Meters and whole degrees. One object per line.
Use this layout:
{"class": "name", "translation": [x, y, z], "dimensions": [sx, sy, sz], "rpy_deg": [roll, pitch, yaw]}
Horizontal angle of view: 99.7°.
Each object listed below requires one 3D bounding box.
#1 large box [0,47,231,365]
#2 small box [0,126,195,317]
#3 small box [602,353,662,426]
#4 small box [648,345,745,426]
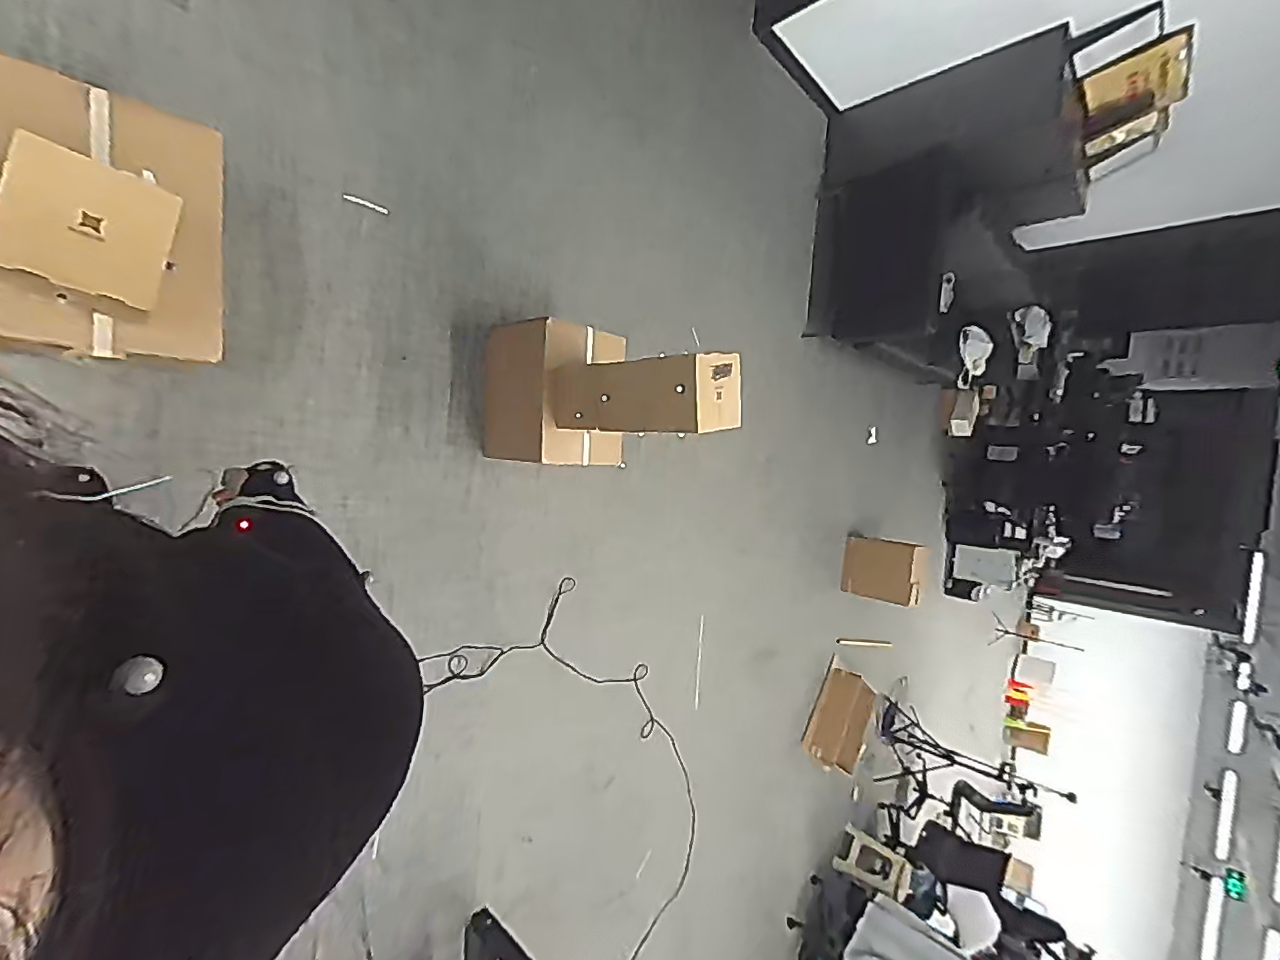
{"class": "large box", "translation": [-0.948, -0.432, 0.962], "dimensions": [0.320, 0.320, 0.408], "rpy_deg": [-1, 95, -45]}
{"class": "small box", "translation": [-0.782, -0.358, 0.789], "dimensions": [0.168, 0.176, 0.179], "rpy_deg": [14, 85, -44]}
{"class": "small box", "translation": [0.017, -0.237, 1.399], "dimensions": [0.168, 0.176, 0.179], "rpy_deg": [-12, 105, -43]}
{"class": "small box", "translation": [0.132, -0.223, 1.282], "dimensions": [0.168, 0.176, 0.179], "rpy_deg": [-13, 105, -43]}
